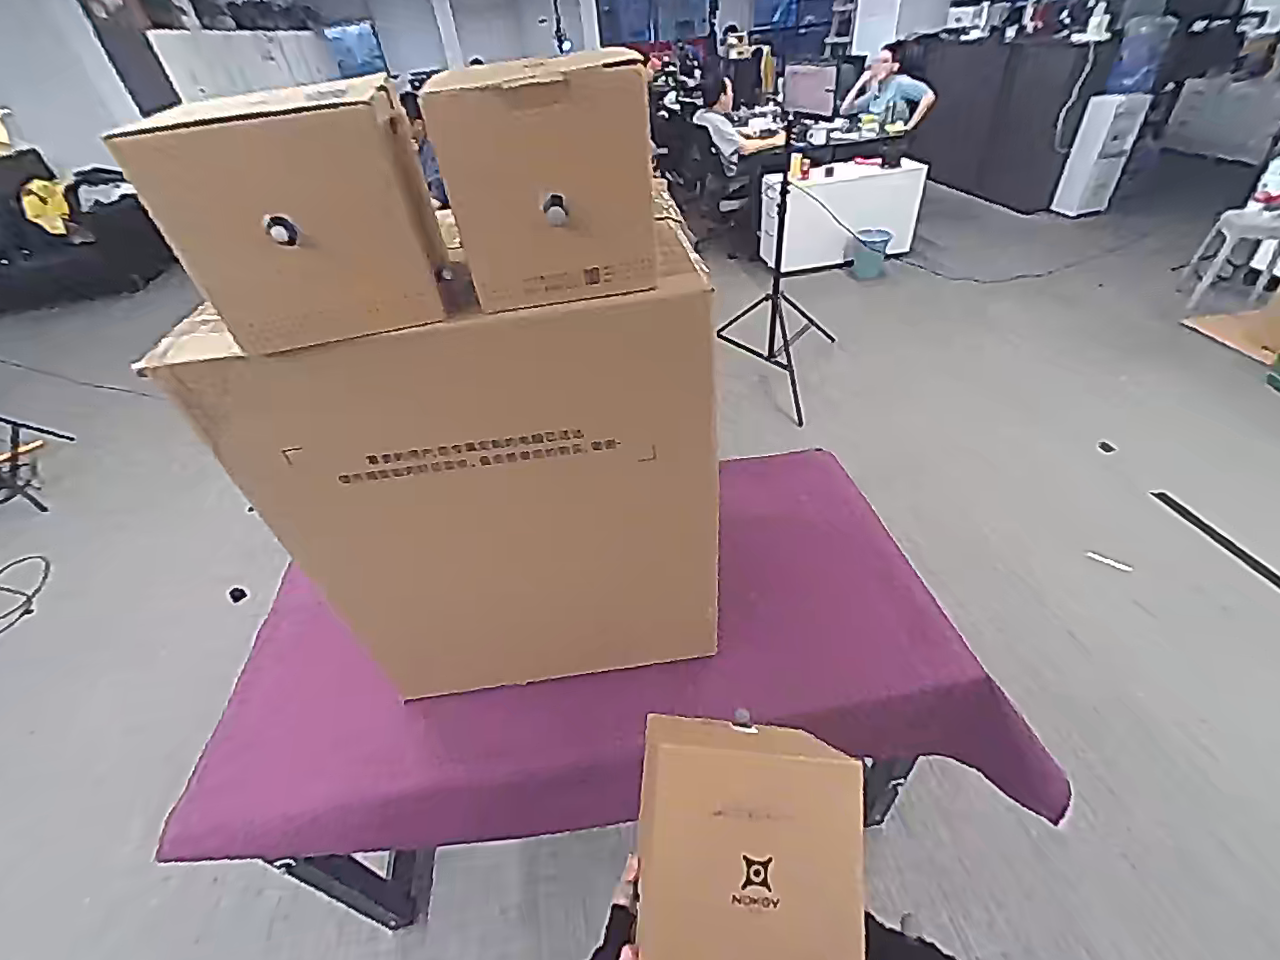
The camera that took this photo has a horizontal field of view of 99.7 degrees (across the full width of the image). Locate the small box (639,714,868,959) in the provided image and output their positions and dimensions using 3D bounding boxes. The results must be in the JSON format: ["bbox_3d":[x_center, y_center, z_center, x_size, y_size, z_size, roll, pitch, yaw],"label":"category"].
[{"bbox_3d":[0.089,0.323,0.489,0.168,0.176,0.179,6,72,-1],"label":"small box"}]

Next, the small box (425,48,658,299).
[{"bbox_3d":[-0.079,-0.280,0.505,0.168,0.176,0.179,-9,42,-3],"label":"small box"}]

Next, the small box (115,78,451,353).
[{"bbox_3d":[-0.280,-0.236,0.483,0.179,0.176,0.168,-14,42,-7],"label":"small box"}]
